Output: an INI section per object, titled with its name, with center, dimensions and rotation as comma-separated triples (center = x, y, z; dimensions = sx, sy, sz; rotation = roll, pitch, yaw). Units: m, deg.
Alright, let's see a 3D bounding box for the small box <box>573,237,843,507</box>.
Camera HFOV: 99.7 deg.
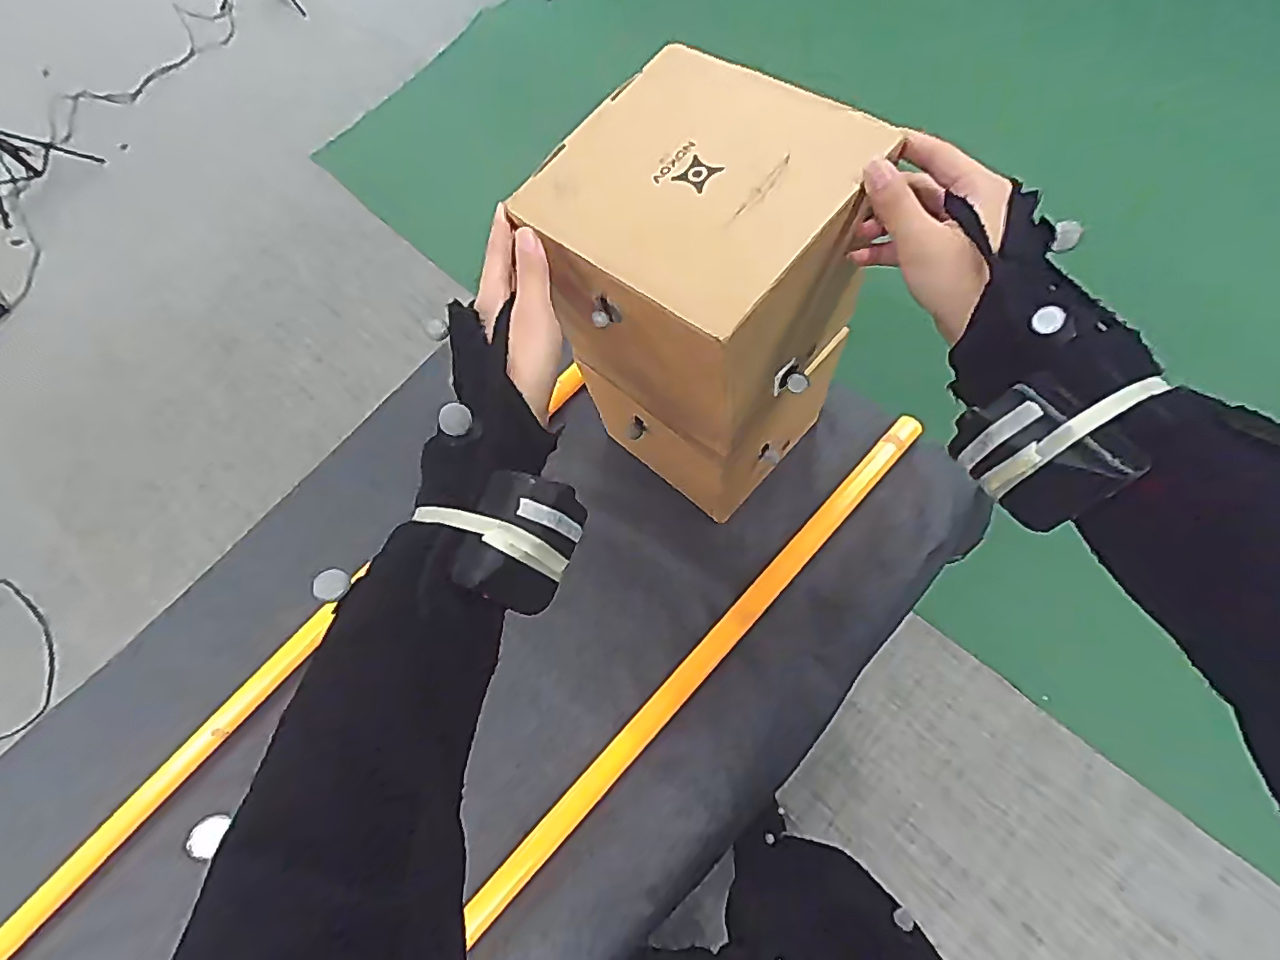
[small box]
center = 0.068, -0.092, 0.540
dimensions = 0.179, 0.176, 0.168
rotation = 40, 81, 21
